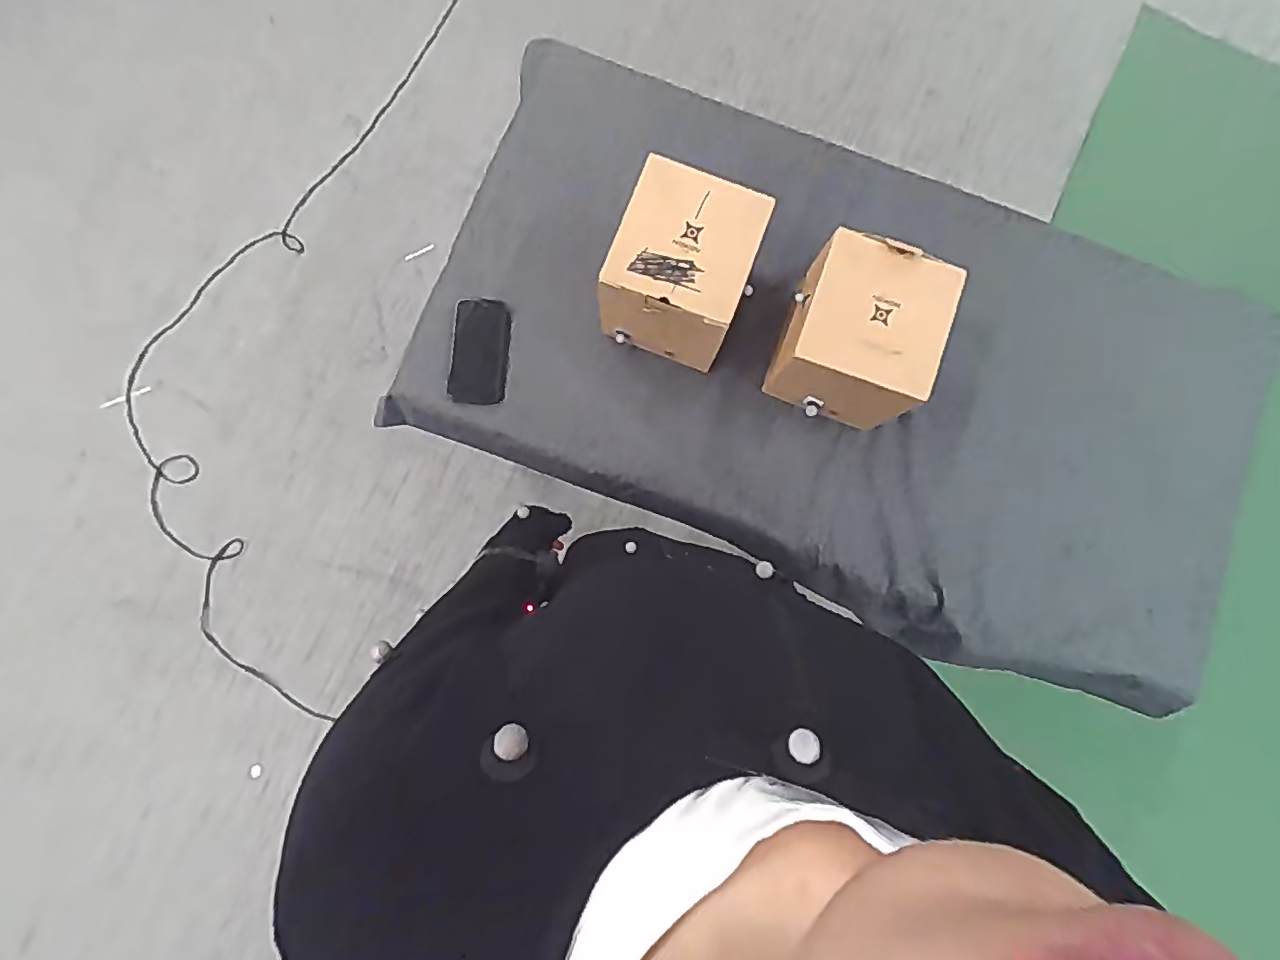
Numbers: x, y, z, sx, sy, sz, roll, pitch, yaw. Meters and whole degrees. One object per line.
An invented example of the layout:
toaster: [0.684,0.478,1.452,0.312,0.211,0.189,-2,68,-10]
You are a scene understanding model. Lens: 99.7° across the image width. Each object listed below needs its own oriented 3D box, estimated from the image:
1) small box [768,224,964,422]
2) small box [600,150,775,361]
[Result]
small box: [0.287,-0.196,0.724,0.168,0.176,0.179,19,85,2]
small box: [0.057,-0.284,0.723,0.168,0.176,0.179,21,82,1]
